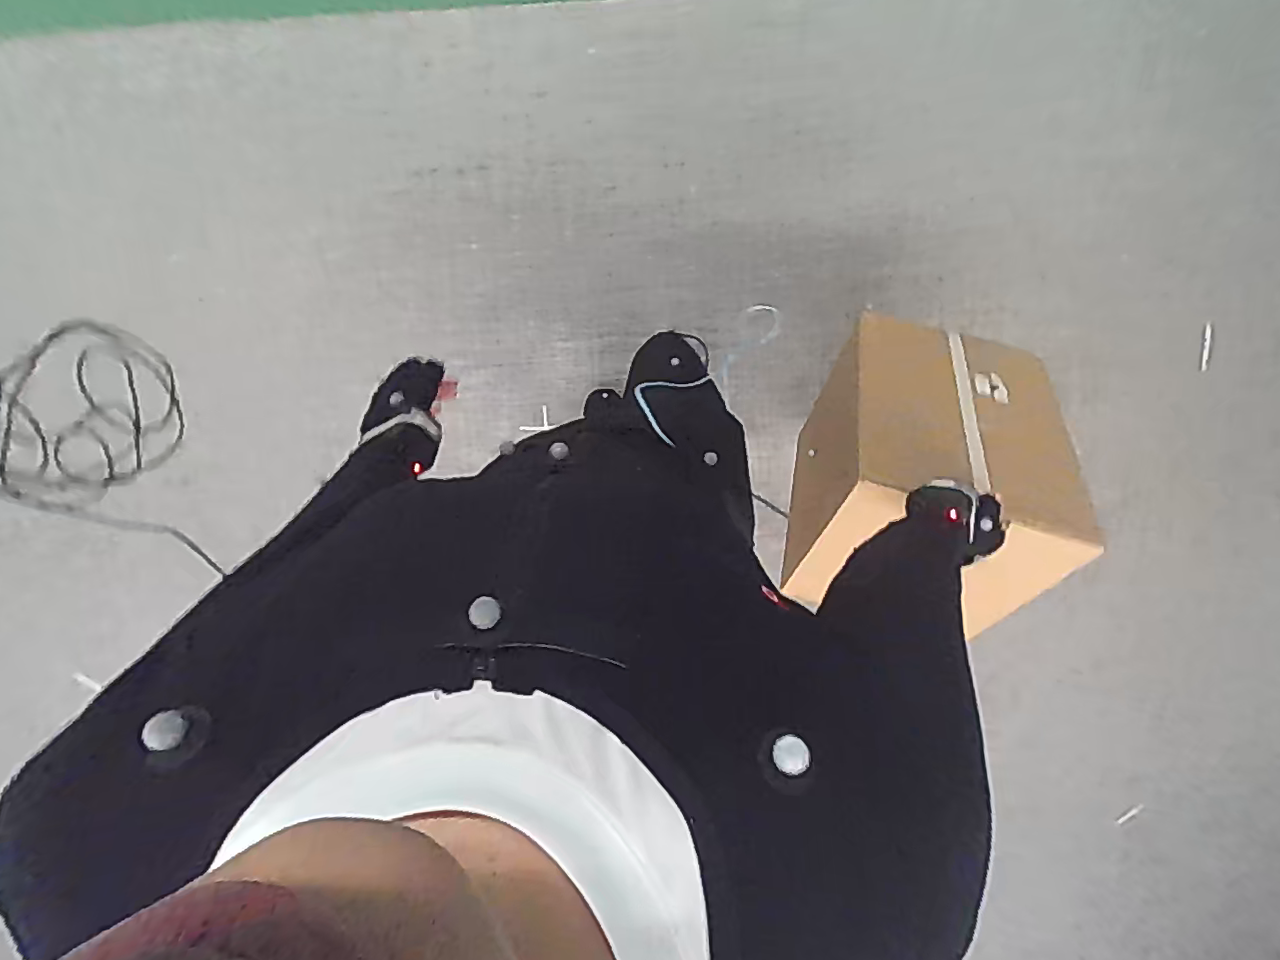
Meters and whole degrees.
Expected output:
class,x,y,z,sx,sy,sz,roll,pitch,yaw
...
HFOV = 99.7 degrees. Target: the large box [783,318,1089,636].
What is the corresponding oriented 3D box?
class,x,y,z,sx,sy,sz,roll,pitch,yaw
large box,0.456,-0.007,0.934,0.320,0.408,0.320,18,140,3
